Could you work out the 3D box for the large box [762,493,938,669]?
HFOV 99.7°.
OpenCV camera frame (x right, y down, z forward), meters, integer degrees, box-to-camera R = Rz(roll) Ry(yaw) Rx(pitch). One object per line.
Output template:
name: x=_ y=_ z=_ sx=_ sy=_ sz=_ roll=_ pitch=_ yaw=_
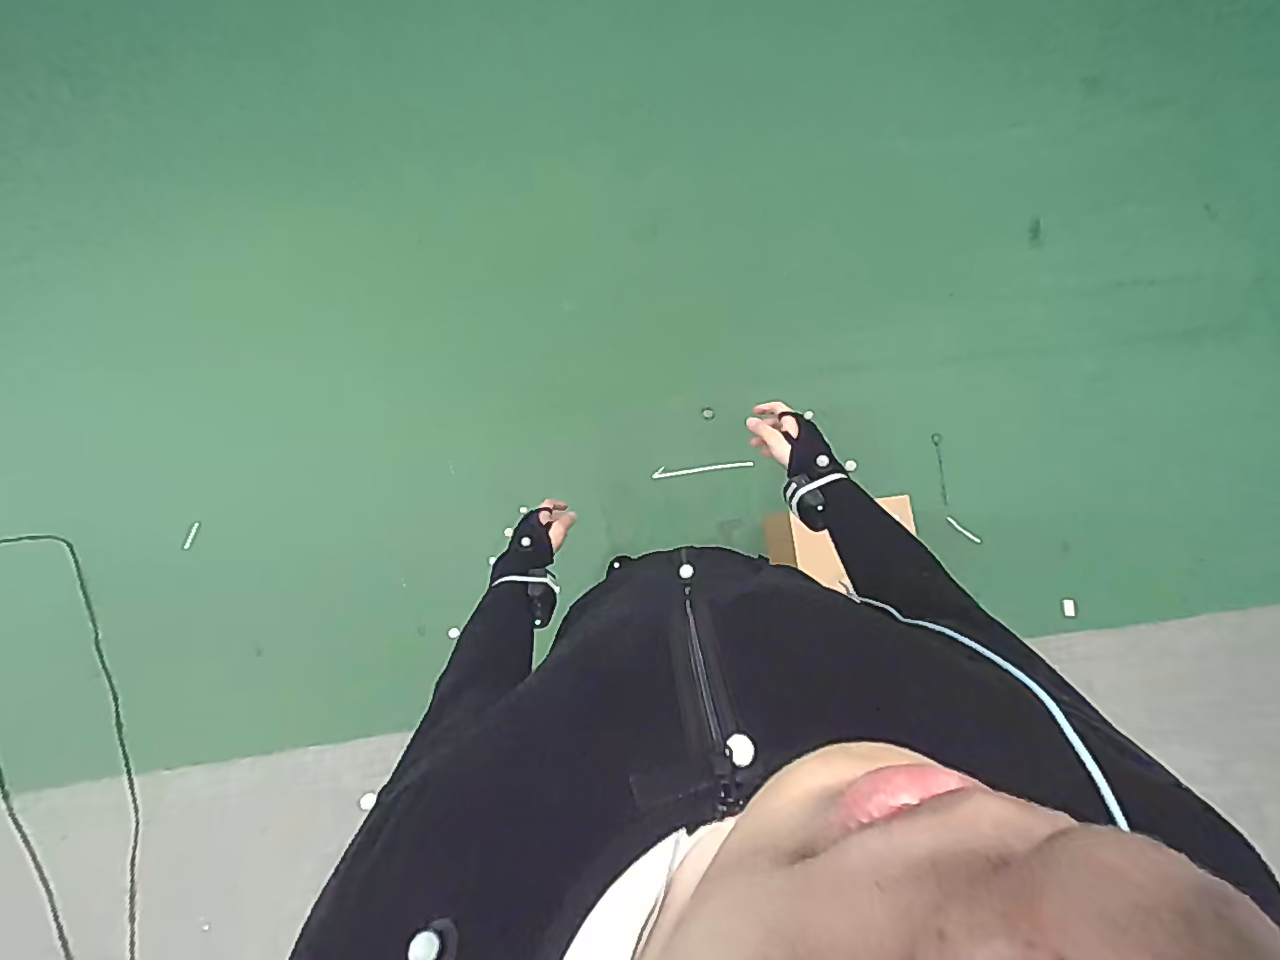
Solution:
large box: x=0.554 y=0.268 z=1.500 sx=0.320 sy=0.320 sz=0.408 roll=-8 pitch=82 yaw=-1
